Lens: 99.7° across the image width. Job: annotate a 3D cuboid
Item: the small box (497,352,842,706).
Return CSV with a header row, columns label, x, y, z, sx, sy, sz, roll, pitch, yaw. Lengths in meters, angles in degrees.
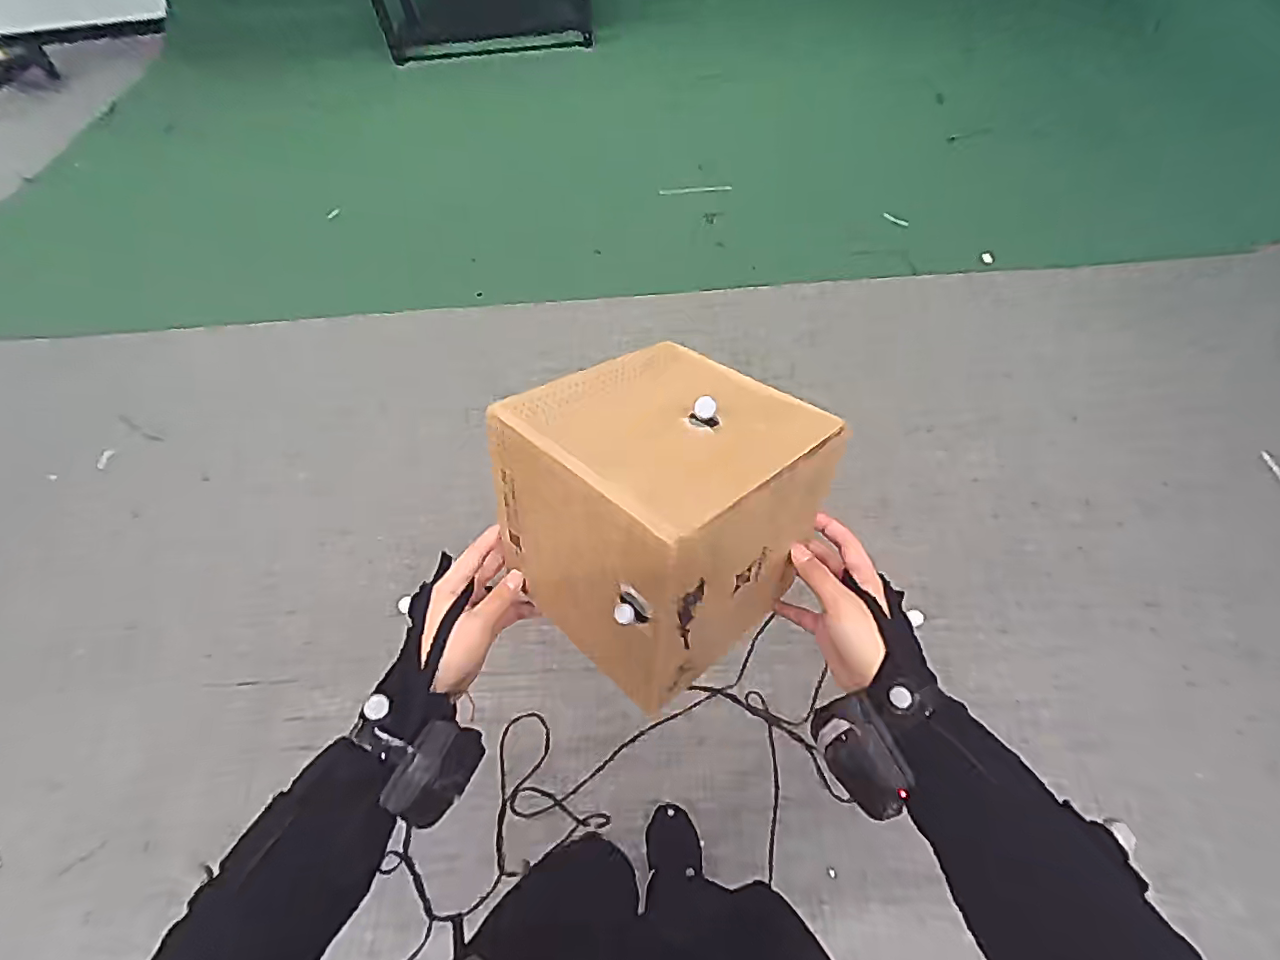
label,x,y,z,sx,sy,sz,roll,pitch,yaw
small box,0.016,0.020,0.412,0.179,0.168,0.176,-29,49,-35
